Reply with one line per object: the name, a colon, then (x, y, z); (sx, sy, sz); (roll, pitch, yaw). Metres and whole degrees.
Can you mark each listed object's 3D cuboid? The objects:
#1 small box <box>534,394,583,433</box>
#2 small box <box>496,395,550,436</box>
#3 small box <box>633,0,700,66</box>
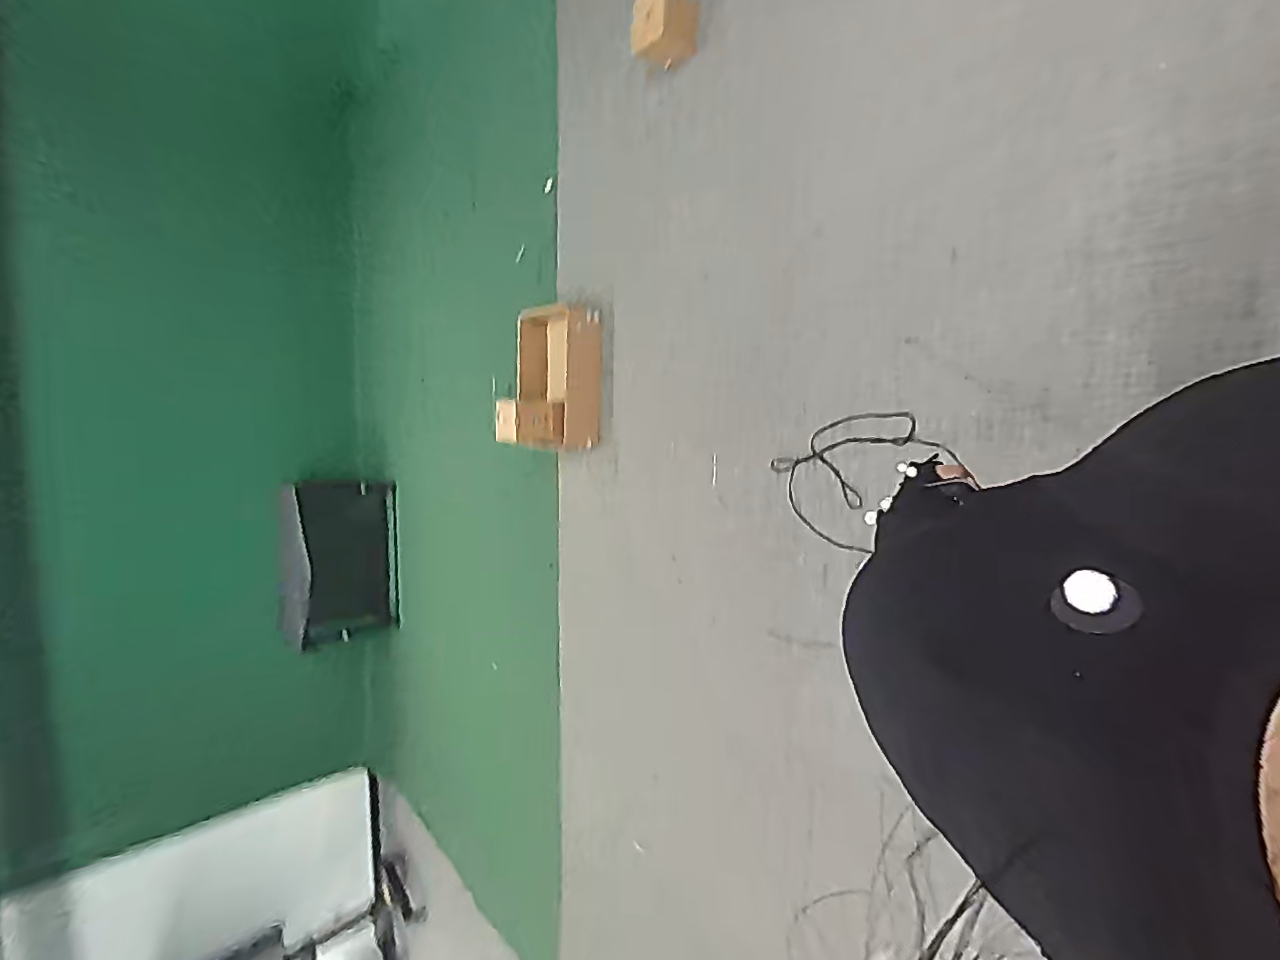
small box: (-0.378, -0.299, 2.442); (0.179, 0.176, 0.168); (3, 96, 45)
small box: (-0.505, -0.281, 2.340); (0.179, 0.176, 0.168); (11, 101, 45)
small box: (0.096, -1.617, 1.902); (0.168, 0.176, 0.179); (14, 103, 46)
